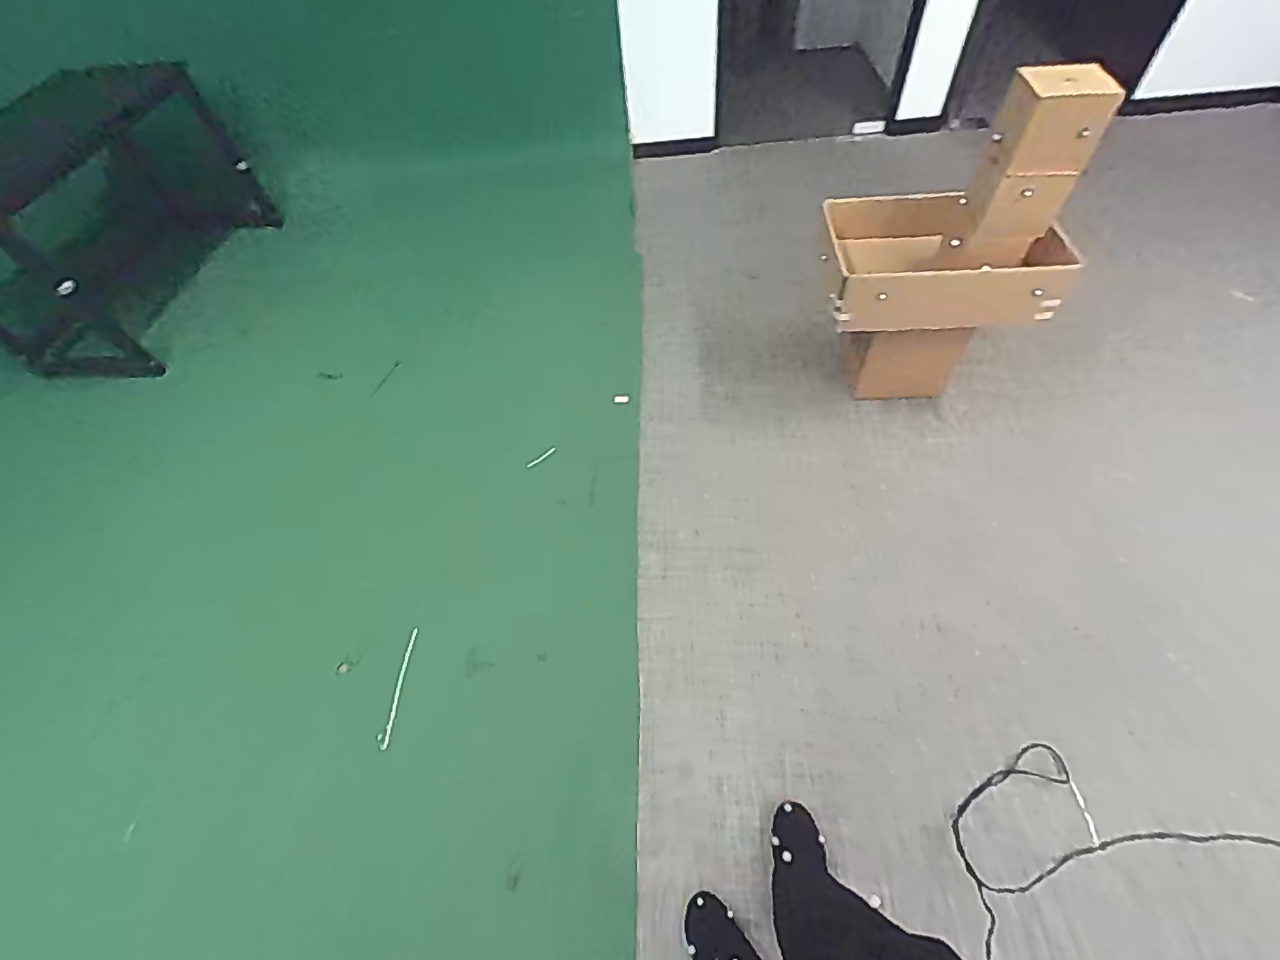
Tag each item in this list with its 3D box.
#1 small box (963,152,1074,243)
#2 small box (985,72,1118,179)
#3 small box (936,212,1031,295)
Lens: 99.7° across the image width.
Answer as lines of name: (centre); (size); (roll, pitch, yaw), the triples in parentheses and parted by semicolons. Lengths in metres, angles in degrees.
small box: (0.983, -0.746, 1.429); (0.179, 0.176, 0.168); (2, 55, 7)
small box: (0.975, -0.848, 1.301); (0.179, 0.176, 0.168); (1, 54, 7)
small box: (0.983, -0.653, 1.565); (0.168, 0.176, 0.179); (3, 55, 8)
